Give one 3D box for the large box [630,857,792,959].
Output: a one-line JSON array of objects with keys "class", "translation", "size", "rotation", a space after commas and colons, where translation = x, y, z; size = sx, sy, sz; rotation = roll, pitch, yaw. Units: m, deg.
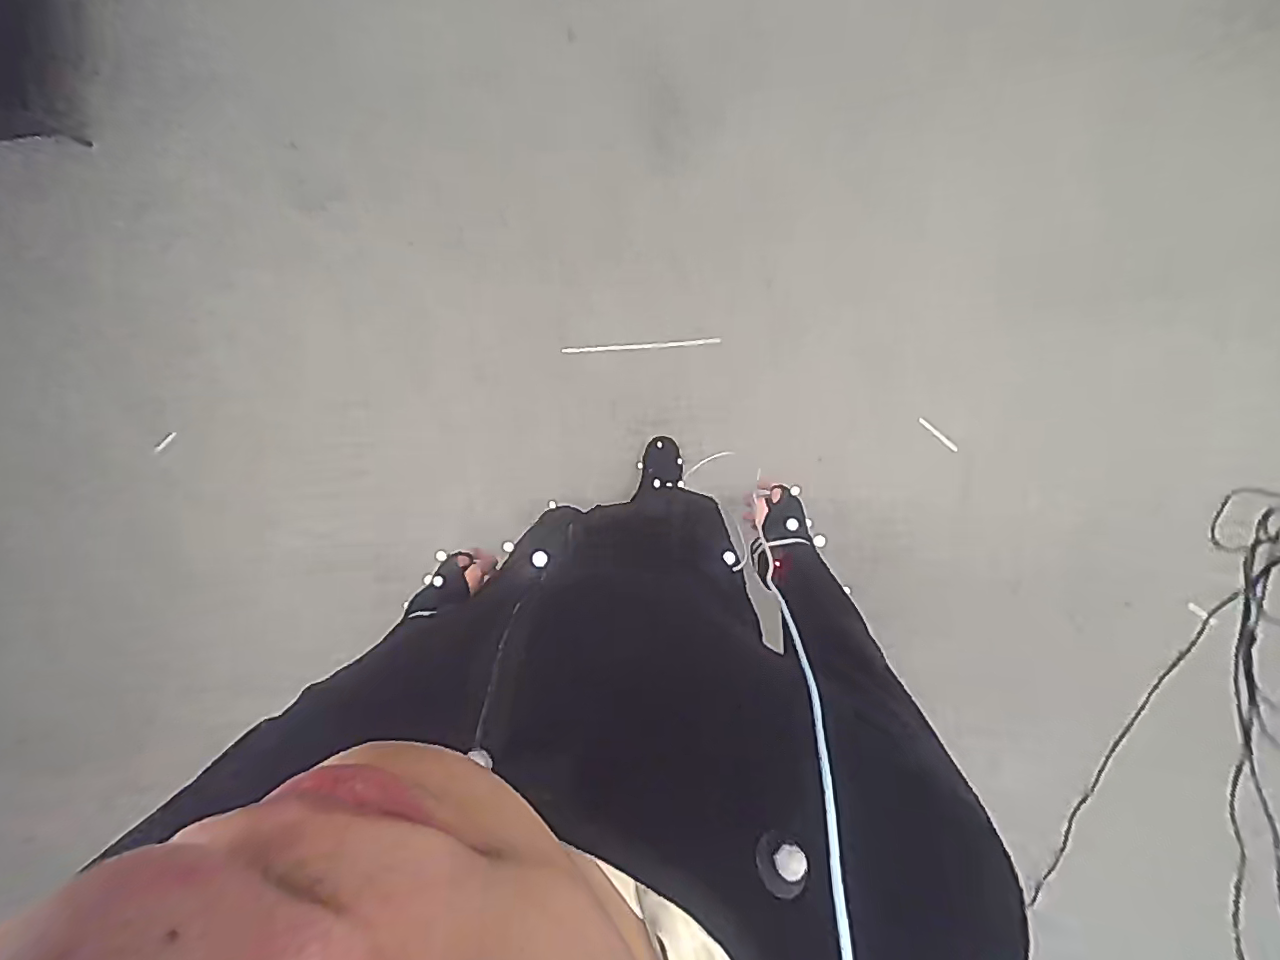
[{"class": "large box", "translation": [0.196, 1.292, 1.483], "size": [0.408, 0.320, 0.320], "rotation": [-4, 89, 5]}]
